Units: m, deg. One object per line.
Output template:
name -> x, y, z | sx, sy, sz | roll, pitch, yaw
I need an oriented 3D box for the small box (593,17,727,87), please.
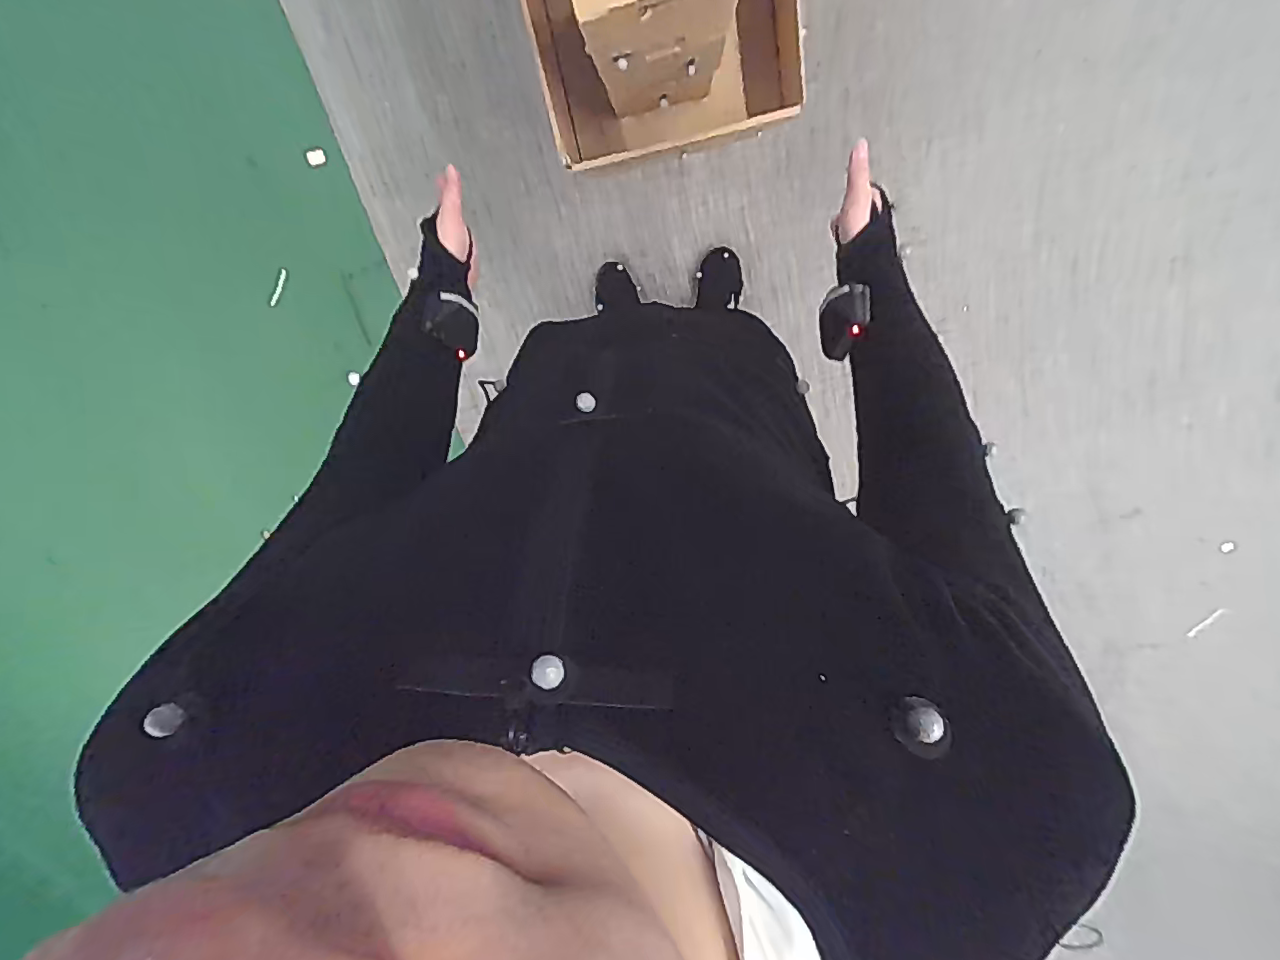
small box -> 0.015, -0.633, 0.692 | 0.168, 0.176, 0.179 | -9, 113, 7

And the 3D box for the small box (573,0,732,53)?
small box -> 0.005, -0.566, 0.543 | 0.168, 0.176, 0.179 | -11, 113, 7
